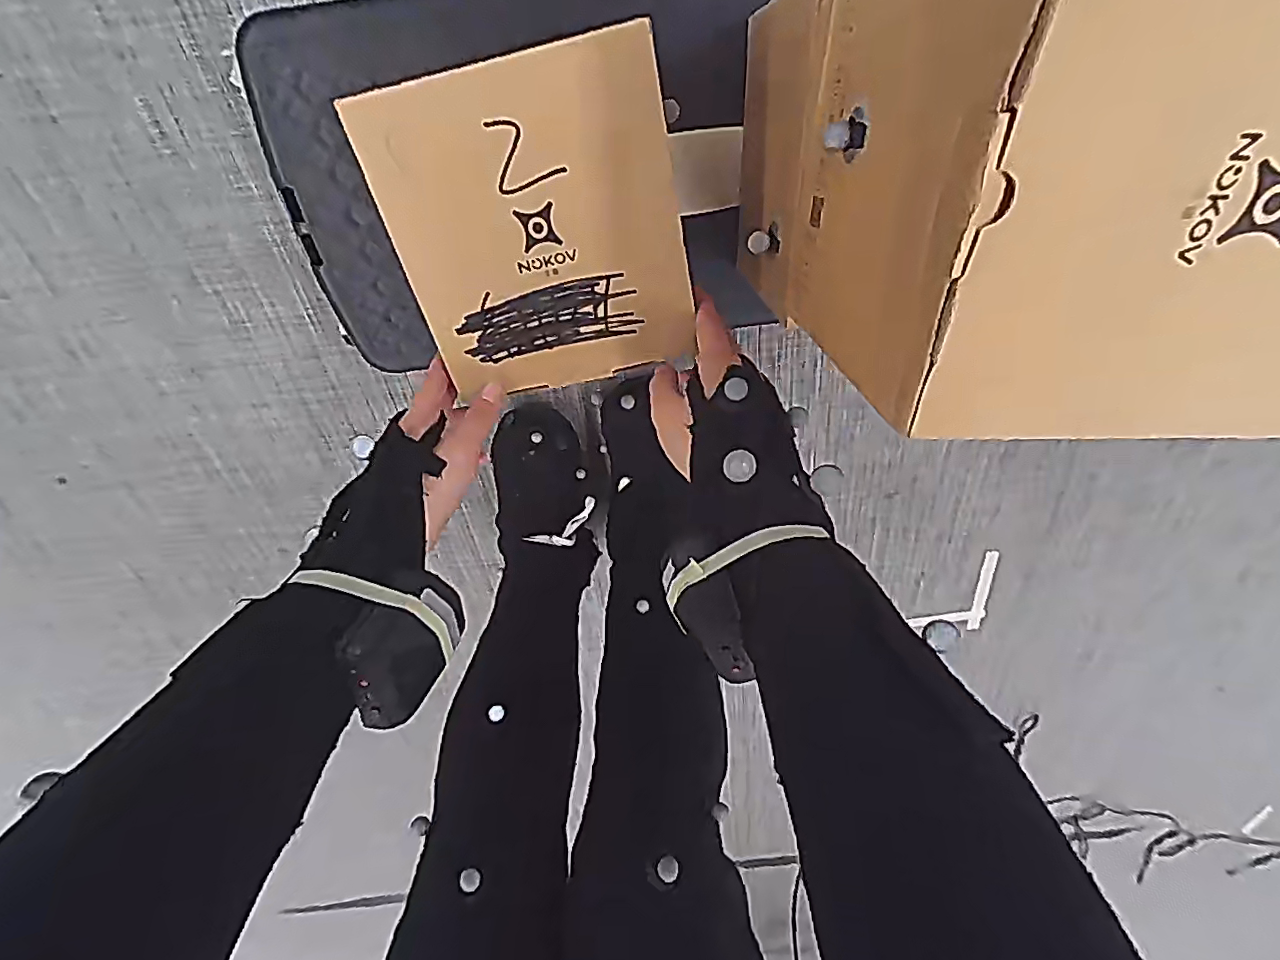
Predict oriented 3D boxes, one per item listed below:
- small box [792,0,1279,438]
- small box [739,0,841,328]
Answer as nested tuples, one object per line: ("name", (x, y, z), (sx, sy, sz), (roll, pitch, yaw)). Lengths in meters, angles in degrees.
("small box", (0.184, -0.130, 0.231), (0.179, 0.176, 0.168), (0, 124, -2))
("small box", (0.166, -0.218, 0.368), (0.168, 0.176, 0.179), (-3, 123, -1))
